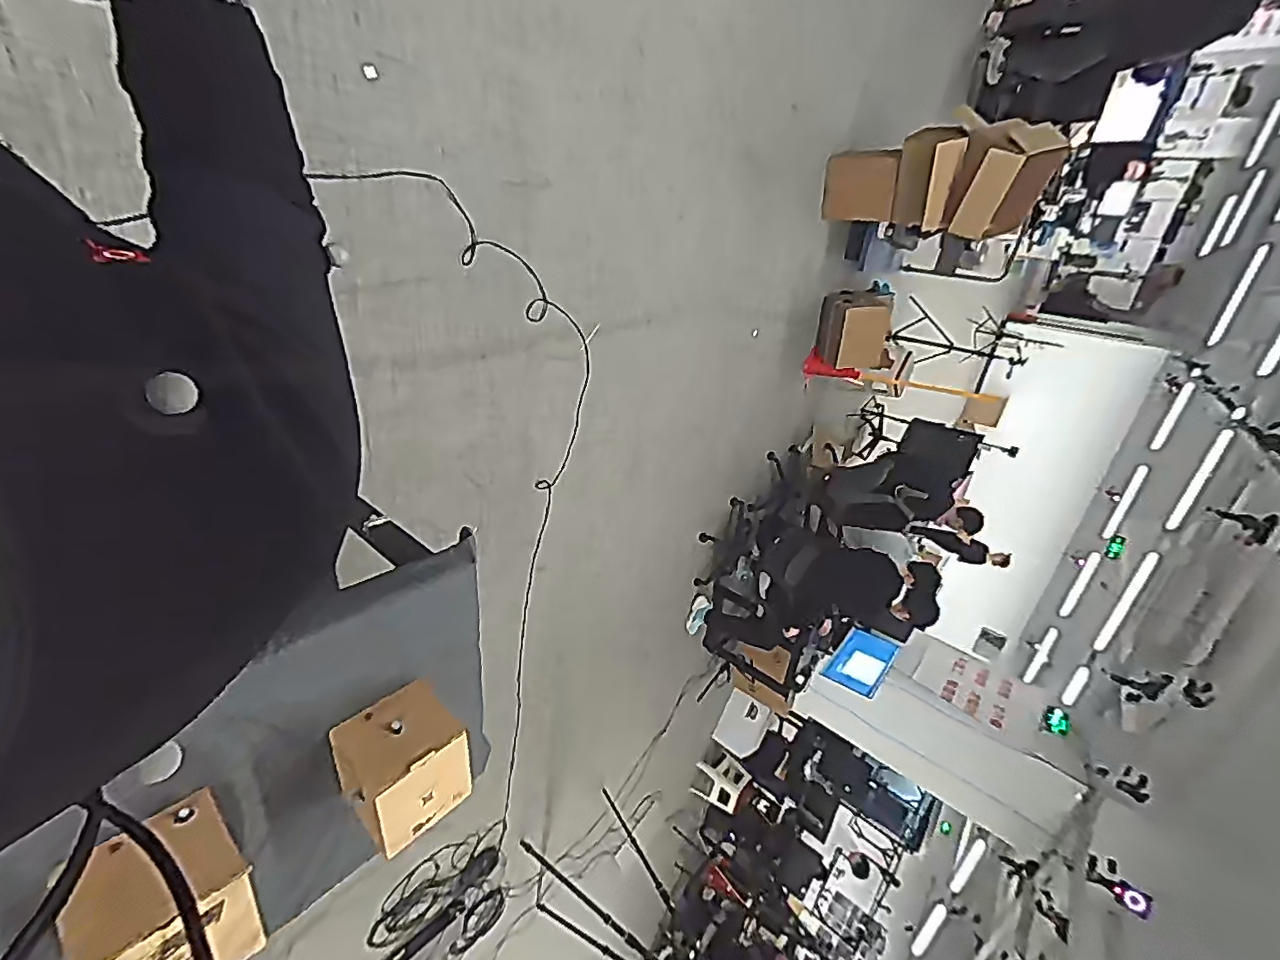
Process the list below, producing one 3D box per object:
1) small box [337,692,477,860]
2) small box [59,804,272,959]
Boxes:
[{"bbox_3d":[-0.415,0.511,0.967,0.168,0.176,0.179,-24,128,-44],"label":"small box"},{"bbox_3d":[-0.627,0.578,0.722,0.168,0.176,0.179,-21,127,-46],"label":"small box"}]
